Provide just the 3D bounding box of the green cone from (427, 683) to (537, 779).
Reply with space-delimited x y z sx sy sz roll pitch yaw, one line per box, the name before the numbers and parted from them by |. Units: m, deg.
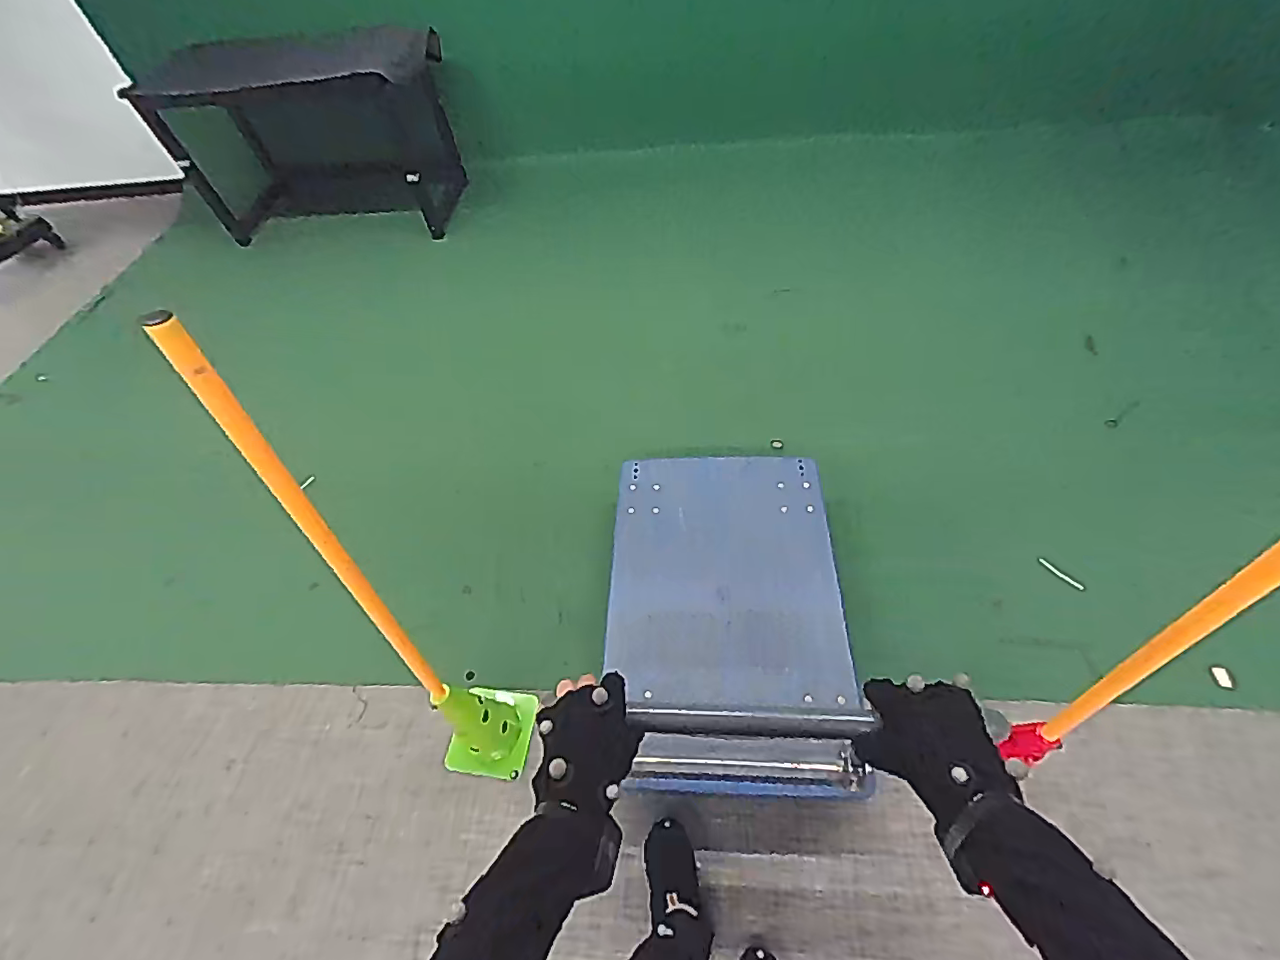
green cone | -0.393 0.538 1.245 0.202 0.368 0.200 3 53 9
